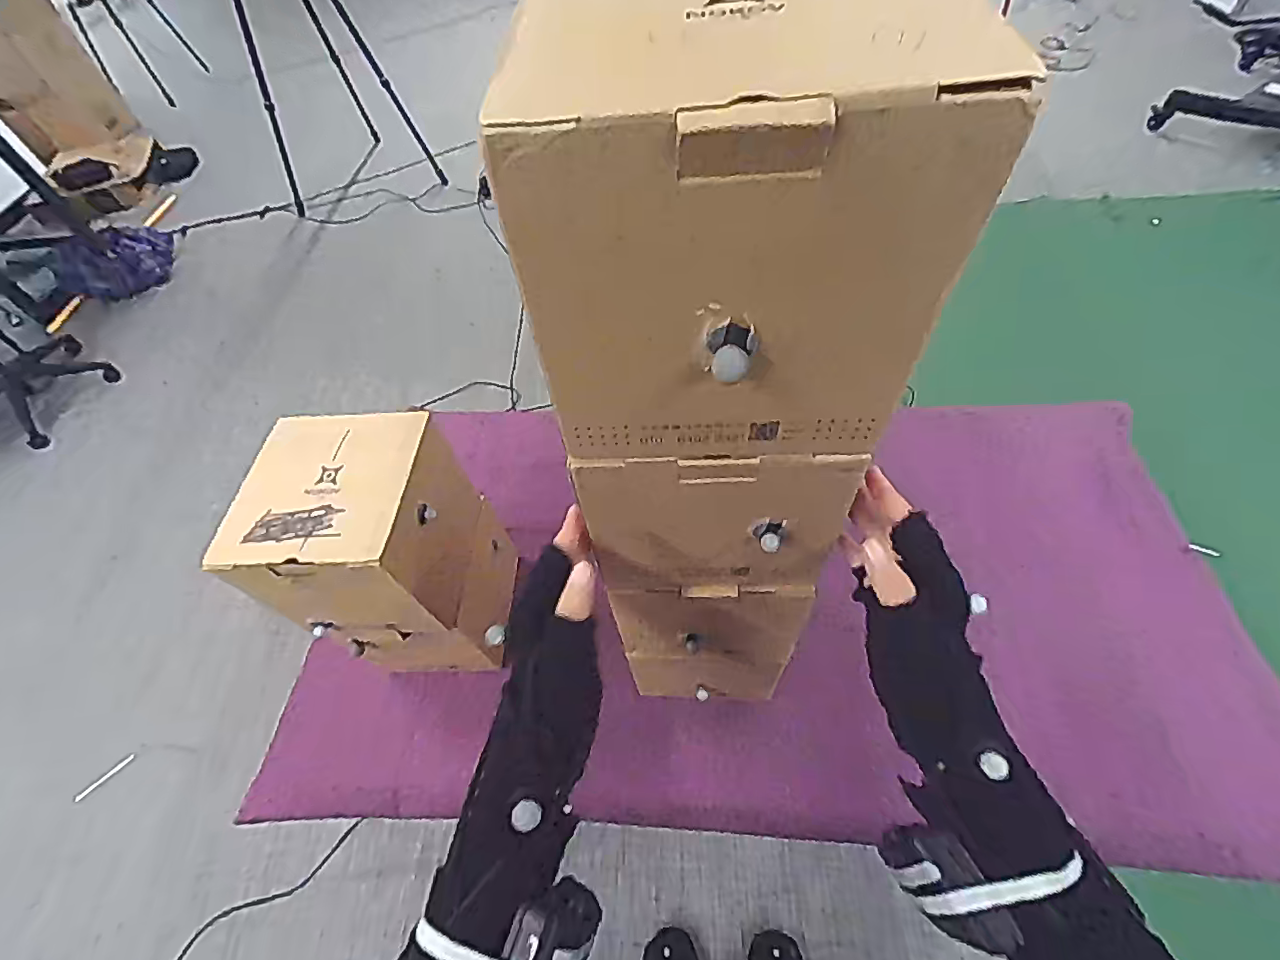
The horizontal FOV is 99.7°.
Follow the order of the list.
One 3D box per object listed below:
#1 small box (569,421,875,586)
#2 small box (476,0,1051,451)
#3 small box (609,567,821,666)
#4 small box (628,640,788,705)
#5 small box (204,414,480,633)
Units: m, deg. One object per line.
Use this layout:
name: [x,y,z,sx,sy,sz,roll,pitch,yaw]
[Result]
small box: [0.051,-0.031,0.396,0.168,0.176,0.179,-1,56,4]
small box: [0.040,-0.126,0.263,0.168,0.176,0.179,-1,57,4]
small box: [0.067,0.066,0.527,0.168,0.176,0.179,0,56,6]
small box: [0.081,0.160,0.660,0.168,0.176,0.179,1,55,7]
small box: [-0.285,0.051,0.569,0.168,0.176,0.179,2,56,5]
